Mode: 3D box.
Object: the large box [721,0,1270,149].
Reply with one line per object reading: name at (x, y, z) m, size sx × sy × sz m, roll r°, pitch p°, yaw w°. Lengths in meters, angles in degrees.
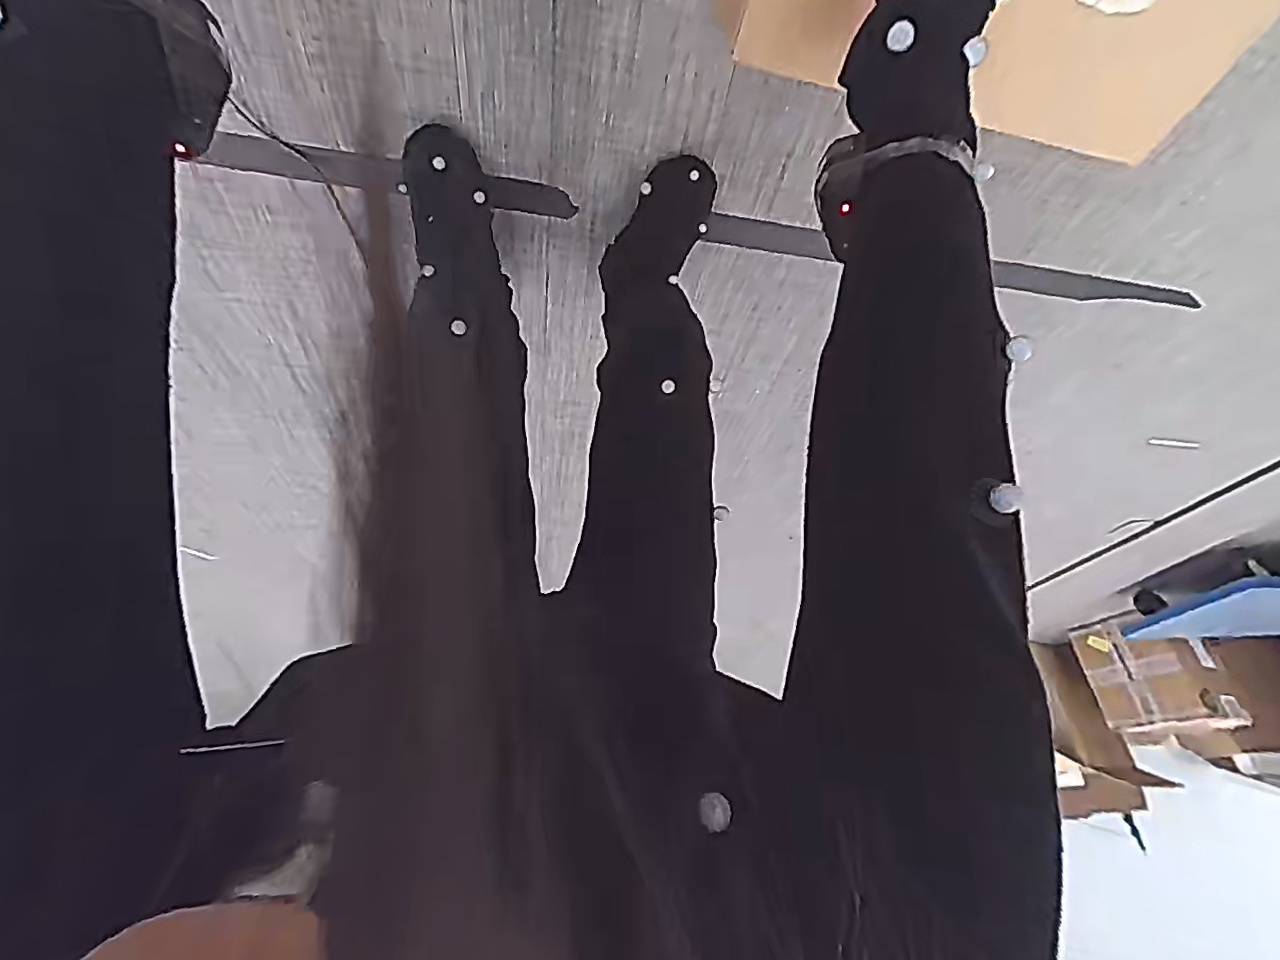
large box at (0.294, -0.534, 0.433) m, size 0.408 × 0.320 × 0.320 m, roll 4°, pitch 147°, yaw -12°
